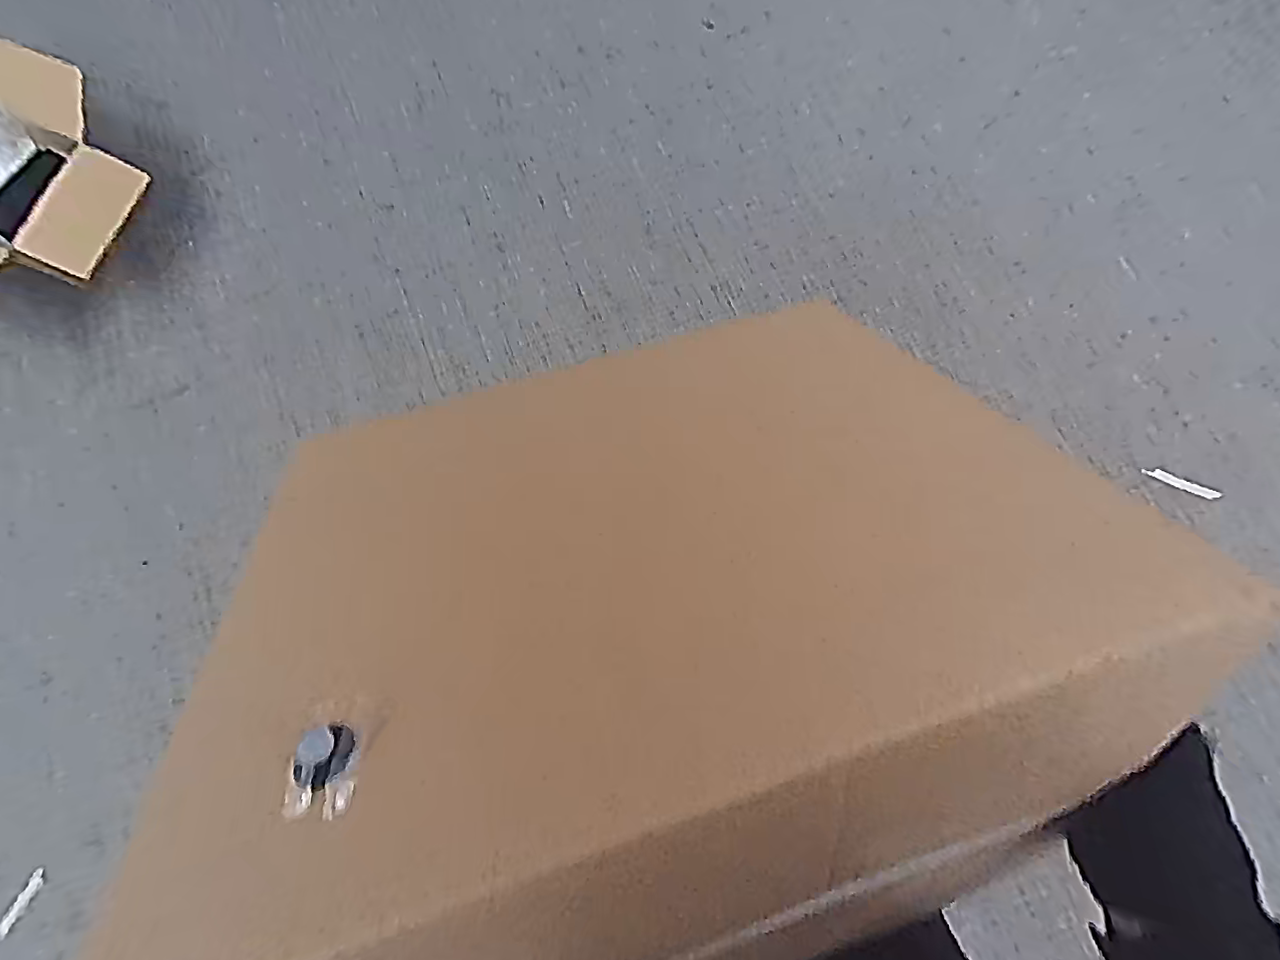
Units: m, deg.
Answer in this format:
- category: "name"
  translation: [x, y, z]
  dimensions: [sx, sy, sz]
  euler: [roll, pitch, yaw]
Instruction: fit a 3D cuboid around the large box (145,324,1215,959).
- category: "large box"
  translation: [0.017, 0.127, 0.393]
  dimensions: [0.408, 0.320, 0.320]
  euler: [-17, 39, -5]
